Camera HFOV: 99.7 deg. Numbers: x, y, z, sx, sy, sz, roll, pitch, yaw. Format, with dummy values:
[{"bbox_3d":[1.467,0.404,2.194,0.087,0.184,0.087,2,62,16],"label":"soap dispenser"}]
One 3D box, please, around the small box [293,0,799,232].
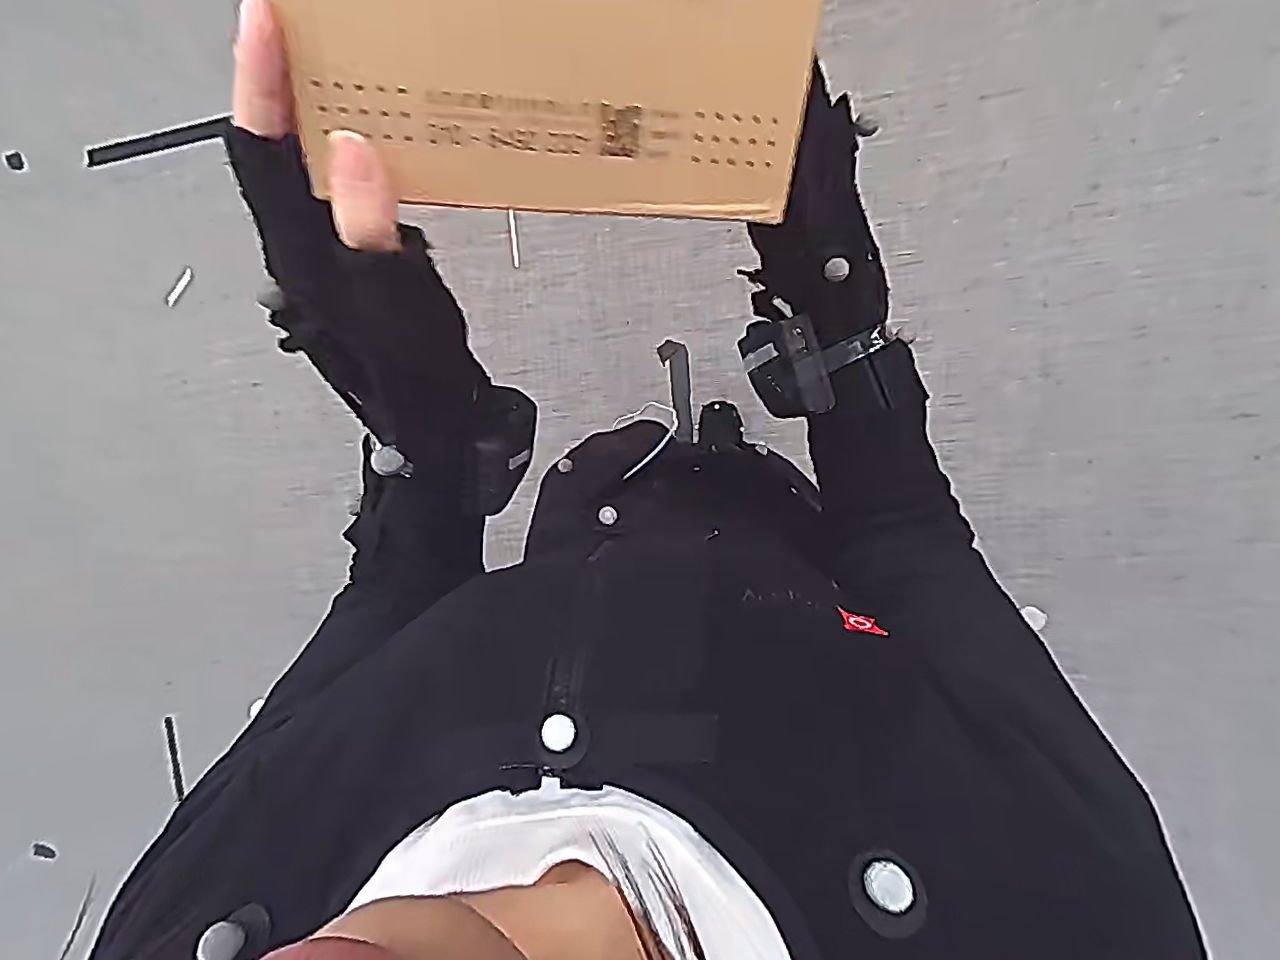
[{"bbox_3d":[-0.029,-0.209,0.224,0.168,0.179,0.176,2,124,-3],"label":"small box"}]
